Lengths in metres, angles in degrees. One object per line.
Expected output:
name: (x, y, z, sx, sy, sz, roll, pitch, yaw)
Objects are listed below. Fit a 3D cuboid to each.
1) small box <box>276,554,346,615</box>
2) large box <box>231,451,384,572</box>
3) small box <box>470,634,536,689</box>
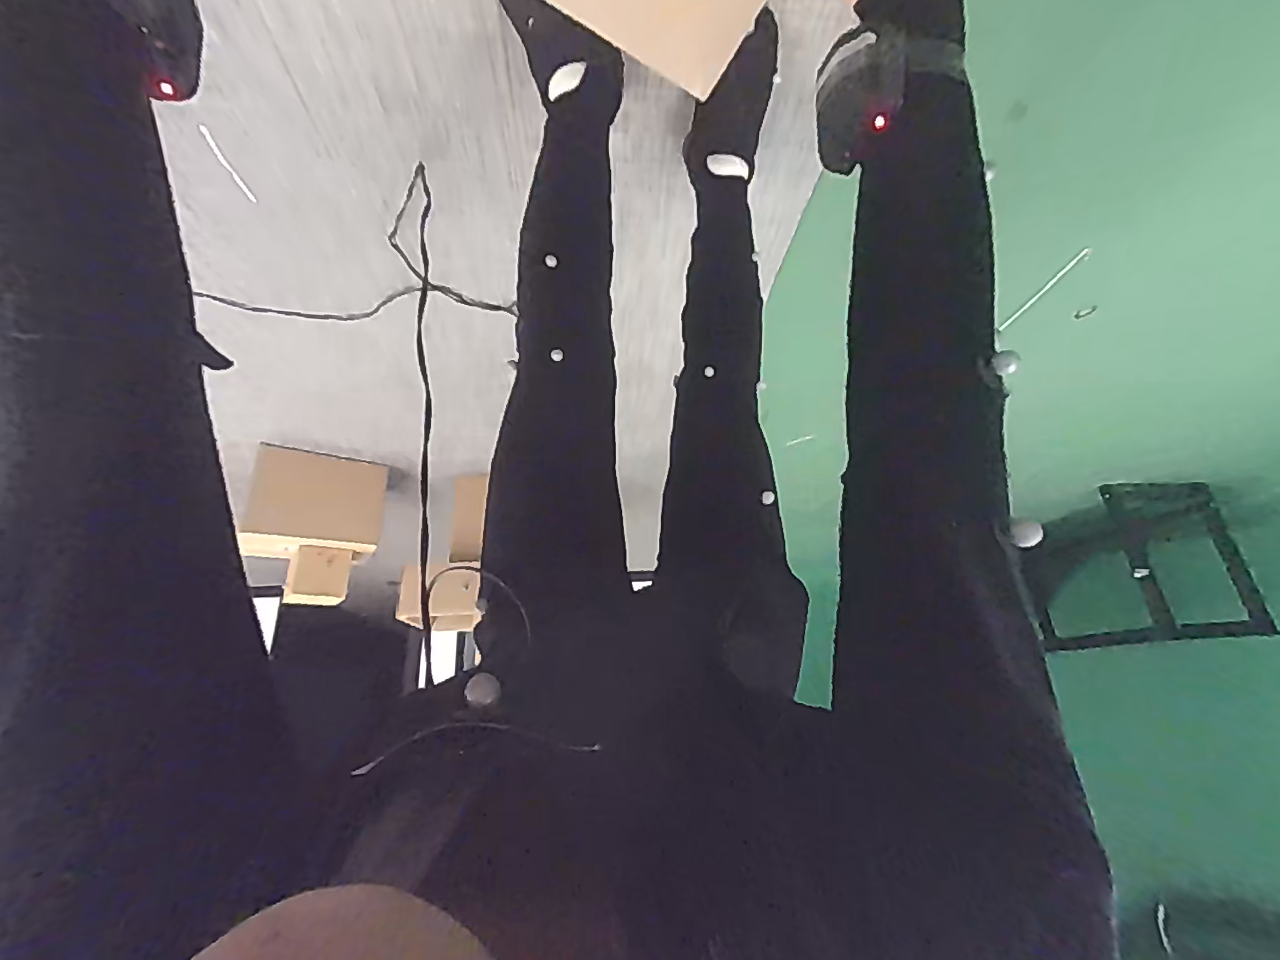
small box: (-1.130, 0.363, 1.863, 0.168, 0.176, 0.179, 15, 152, -36)
large box: (-1.173, 0.127, 1.927, 0.408, 0.320, 0.320, 14, 152, -32)
small box: (-0.490, 0.658, 1.956, 0.179, 0.176, 0.168, -14, 156, 21)
